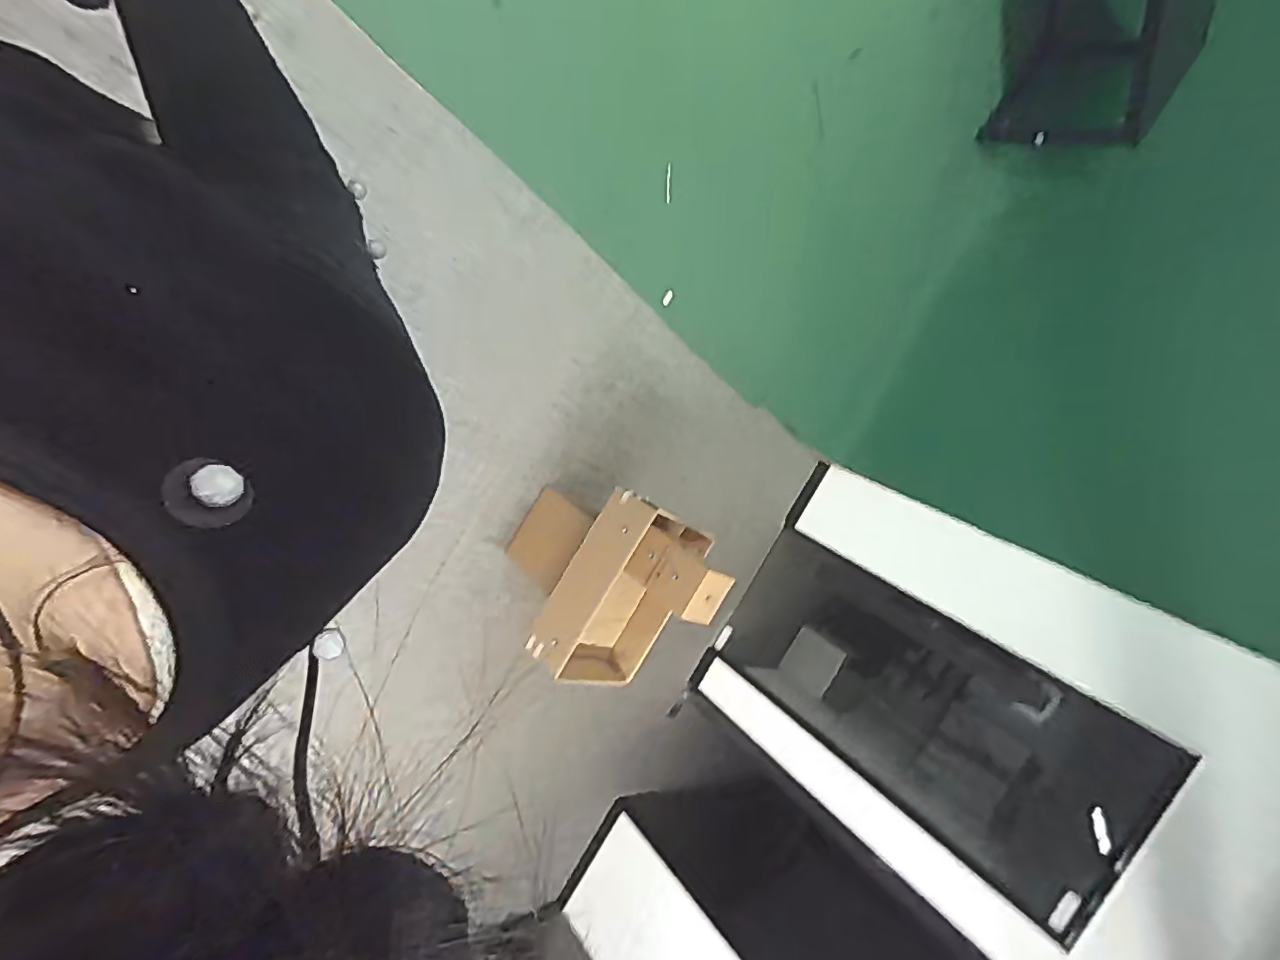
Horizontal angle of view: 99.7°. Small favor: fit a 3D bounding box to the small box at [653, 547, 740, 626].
[{"bbox_3d":[0.171,0.327,1.667,0.179,0.176,0.168,29,93,-49],"label":"small box"}]
